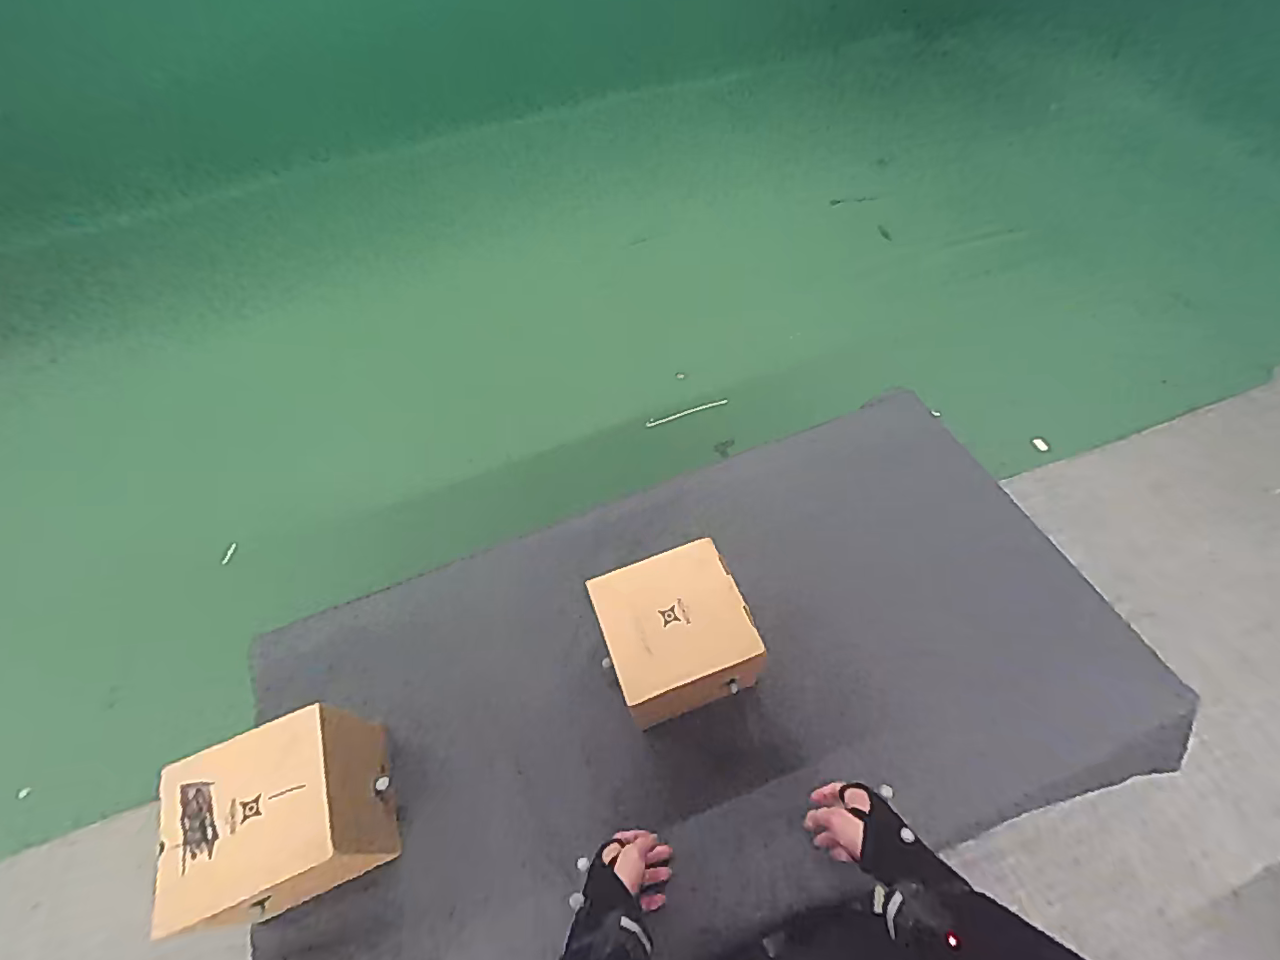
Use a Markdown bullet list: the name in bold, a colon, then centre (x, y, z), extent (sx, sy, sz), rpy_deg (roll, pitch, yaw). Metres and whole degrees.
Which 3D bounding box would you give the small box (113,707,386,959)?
- **small box**: centre (-0.411, 0.382, 0.597), extent (0.179, 0.176, 0.168), rpy_deg (-20, 58, -13)

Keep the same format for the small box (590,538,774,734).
- **small box**: centre (0.048, 0.207, 0.707), extent (0.179, 0.176, 0.168), rpy_deg (-19, 56, -10)
